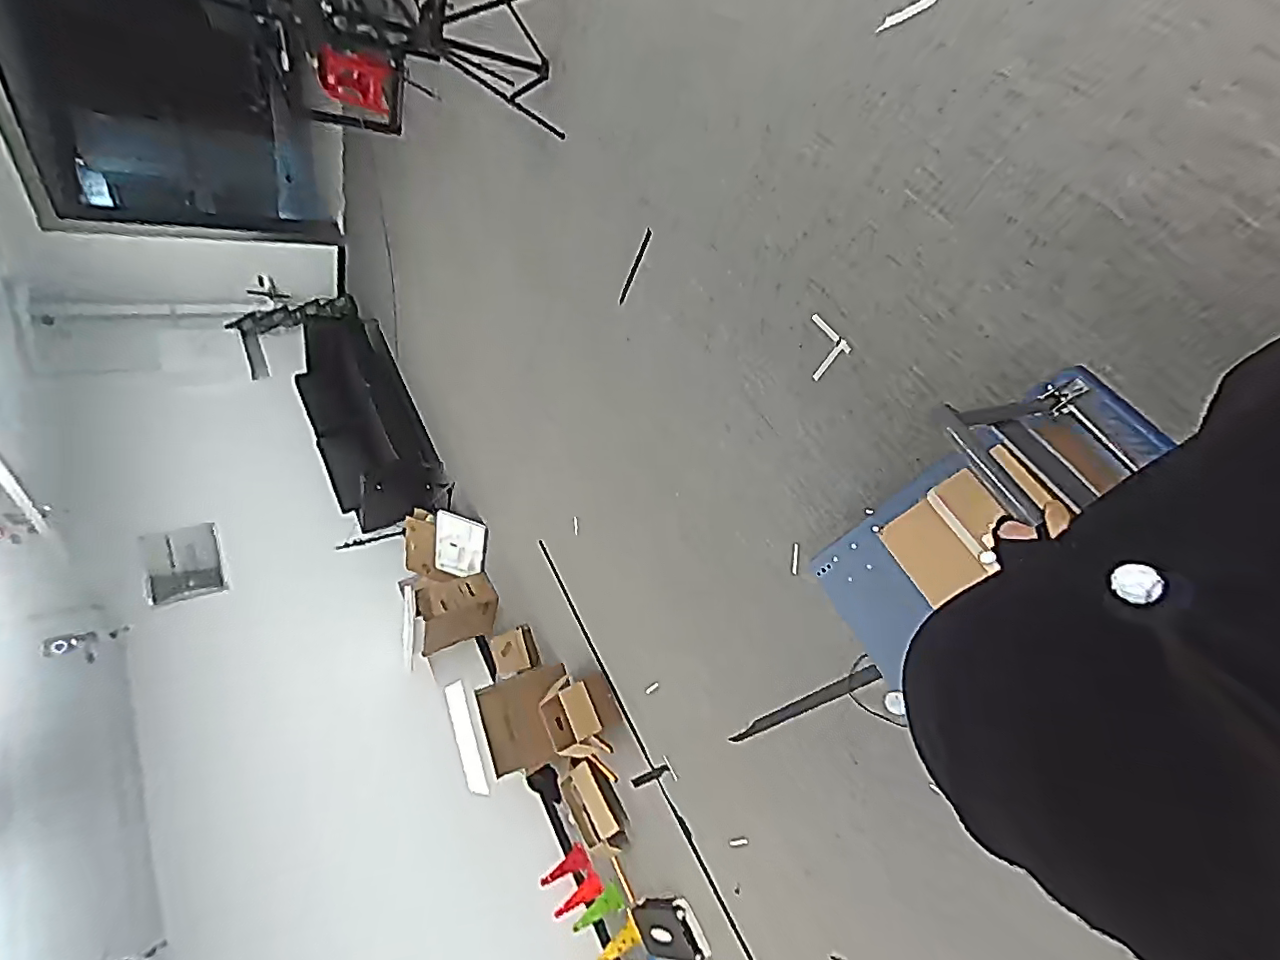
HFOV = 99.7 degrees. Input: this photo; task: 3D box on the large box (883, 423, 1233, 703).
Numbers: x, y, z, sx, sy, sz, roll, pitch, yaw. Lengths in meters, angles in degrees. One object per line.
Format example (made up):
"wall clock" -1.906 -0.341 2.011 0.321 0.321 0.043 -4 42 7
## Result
"large box" 0.791 0.149 1.061 0.408 0.320 0.320 60 141 23
